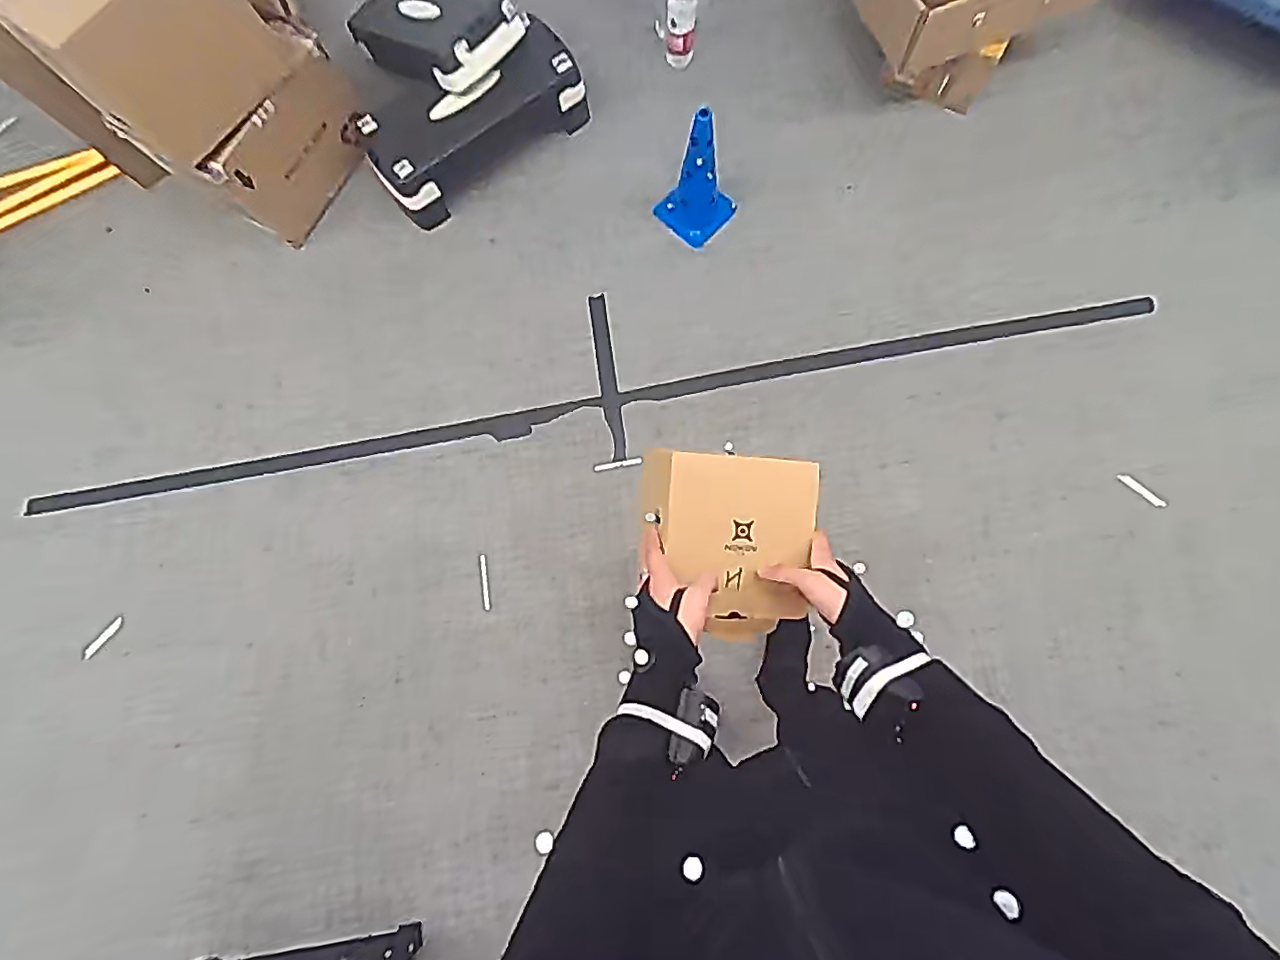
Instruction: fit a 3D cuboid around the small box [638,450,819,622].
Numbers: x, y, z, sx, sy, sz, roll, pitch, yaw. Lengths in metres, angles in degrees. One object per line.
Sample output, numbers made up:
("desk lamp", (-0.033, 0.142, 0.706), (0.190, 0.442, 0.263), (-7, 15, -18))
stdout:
("small box", (0.094, 0.057, 0.652), (0.168, 0.176, 0.179), (4, 94, -9))
